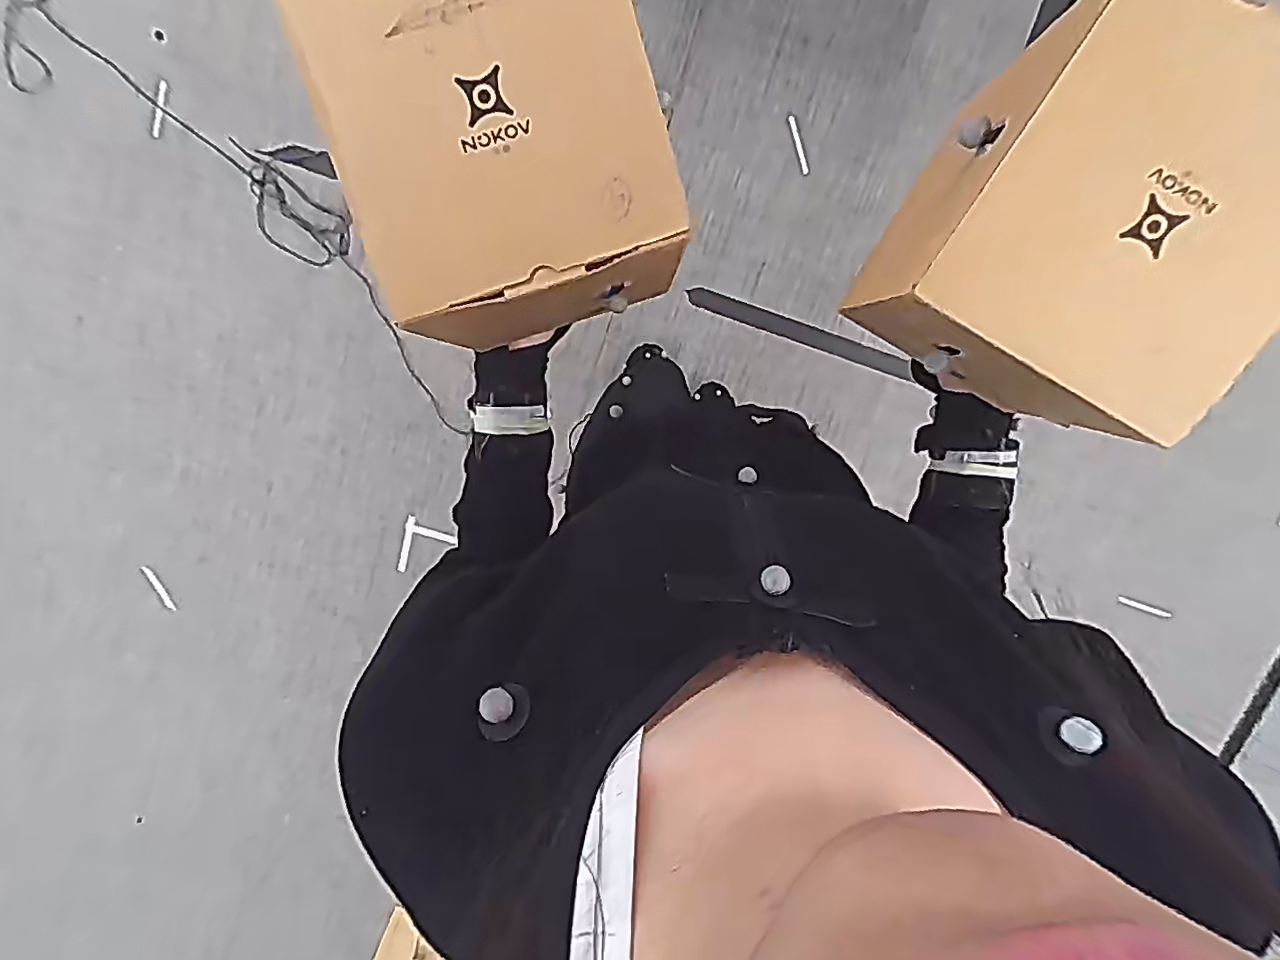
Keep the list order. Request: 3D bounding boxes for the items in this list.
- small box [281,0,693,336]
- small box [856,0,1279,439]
[{"bbox_3d":[-0.075,-0.199,0.345,0.168,0.176,0.179,-18,99,1],"label":"small box"},{"bbox_3d":[0.263,-0.151,0.342,0.168,0.176,0.179,30,104,-2],"label":"small box"}]
